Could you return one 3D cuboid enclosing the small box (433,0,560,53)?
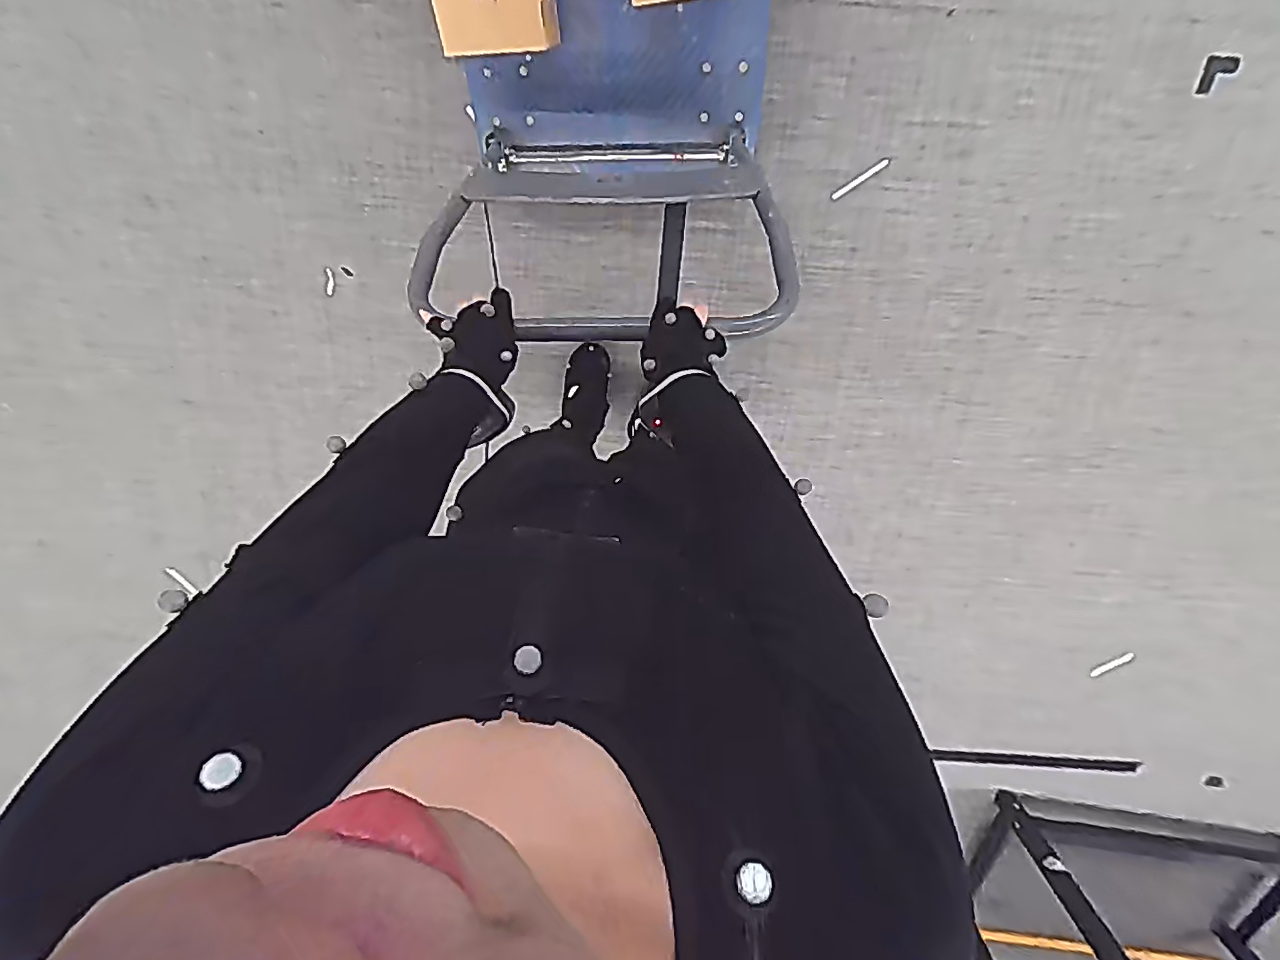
[{"bbox_3d":[-0.239,-0.820,0.895,0.179,0.176,0.168,-3,132,2],"label":"small box"}]
